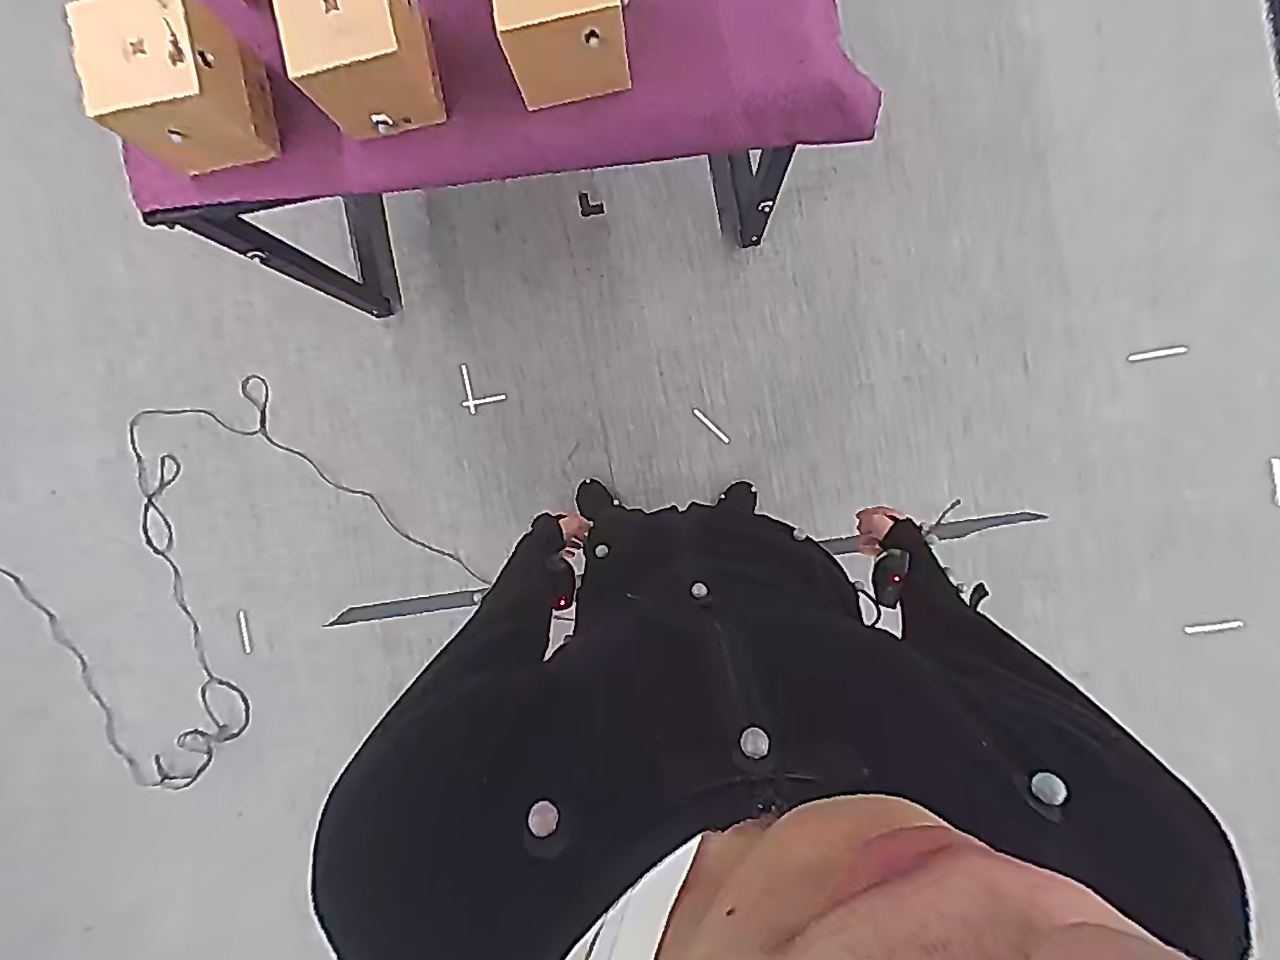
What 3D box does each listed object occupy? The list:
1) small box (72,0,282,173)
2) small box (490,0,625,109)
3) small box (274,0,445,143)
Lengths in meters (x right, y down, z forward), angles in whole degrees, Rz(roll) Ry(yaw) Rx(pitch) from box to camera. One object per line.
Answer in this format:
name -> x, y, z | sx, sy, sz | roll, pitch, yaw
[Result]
small box -> -0.717, -0.617, 0.854 | 0.179, 0.176, 0.168 | -9, 92, 4
small box -> -0.120, -0.703, 0.812 | 0.179, 0.176, 0.168 | -10, 91, 5
small box -> -0.426, -0.668, 0.837 | 0.168, 0.176, 0.179 | -10, 93, 5
